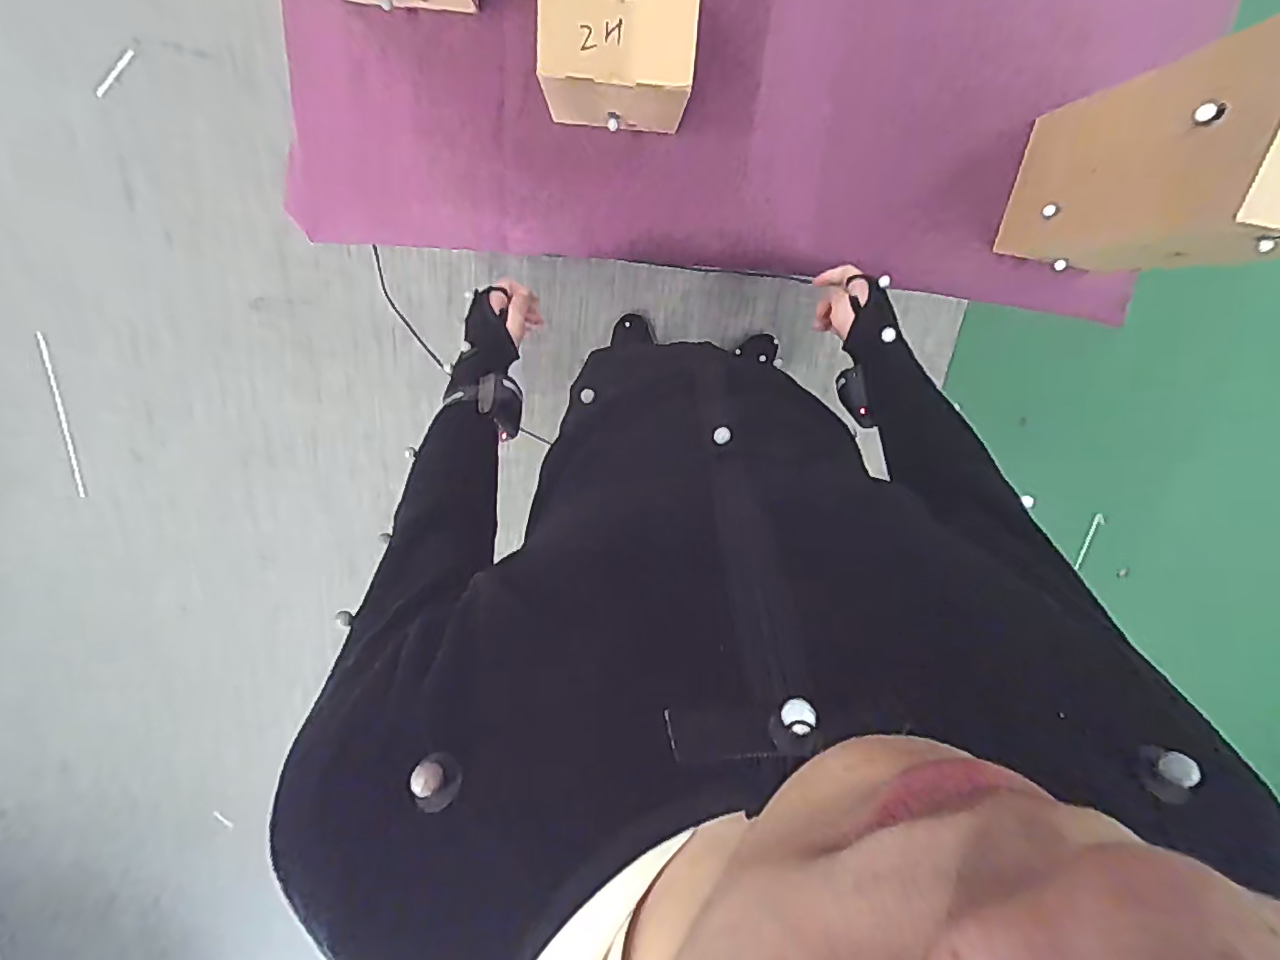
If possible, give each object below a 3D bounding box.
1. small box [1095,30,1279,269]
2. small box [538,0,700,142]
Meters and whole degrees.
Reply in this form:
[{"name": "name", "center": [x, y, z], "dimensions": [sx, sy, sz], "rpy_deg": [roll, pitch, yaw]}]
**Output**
[{"name": "small box", "center": [0.620, -0.322, 0.542], "dimensions": [0.168, 0.176, 0.179], "rpy_deg": [8, 107, -4]}, {"name": "small box", "center": [-0.023, -0.520, 0.624], "dimensions": [0.168, 0.176, 0.179], "rpy_deg": [4, 109, -3]}]
